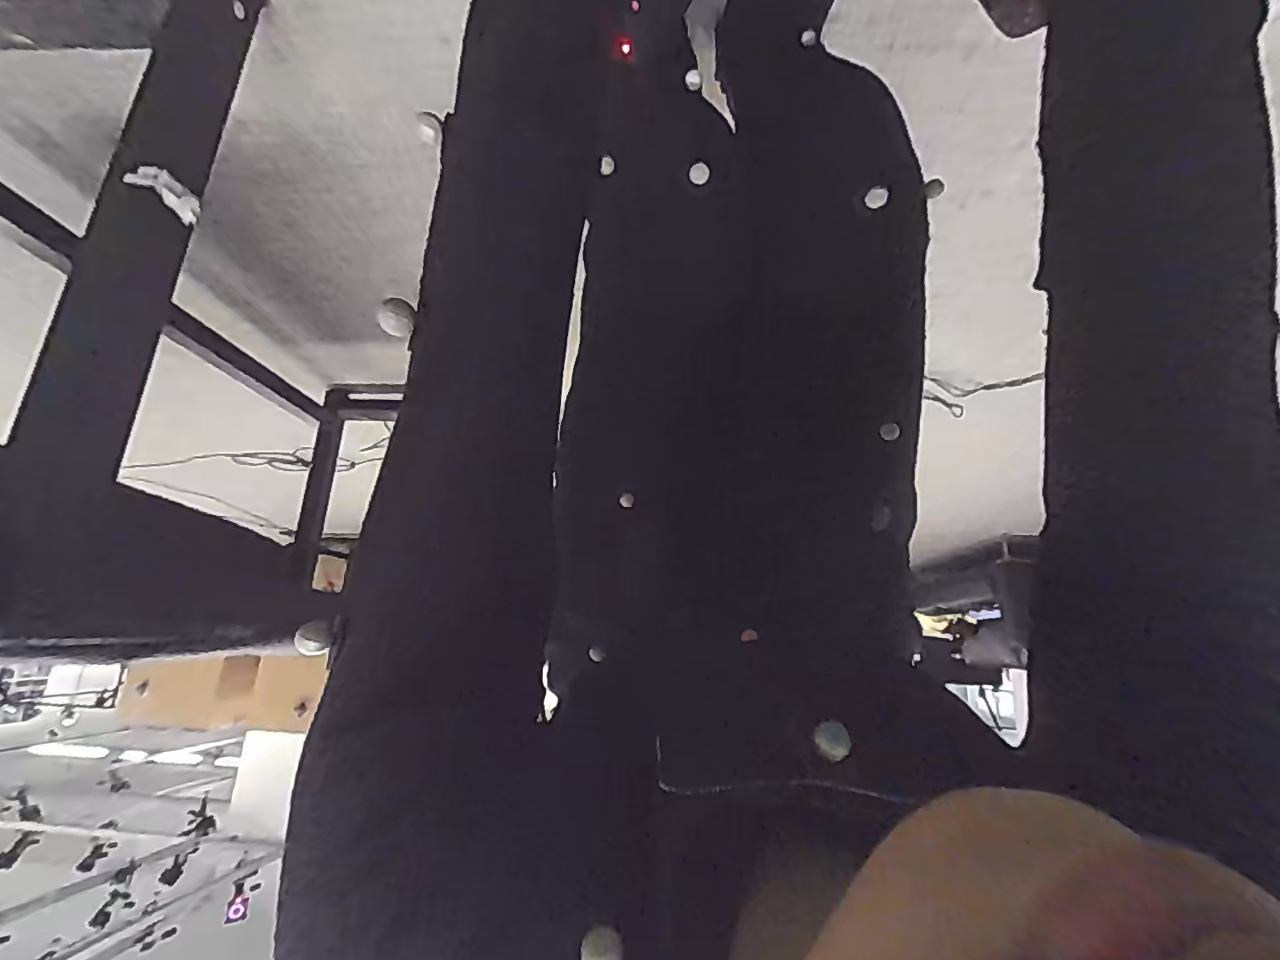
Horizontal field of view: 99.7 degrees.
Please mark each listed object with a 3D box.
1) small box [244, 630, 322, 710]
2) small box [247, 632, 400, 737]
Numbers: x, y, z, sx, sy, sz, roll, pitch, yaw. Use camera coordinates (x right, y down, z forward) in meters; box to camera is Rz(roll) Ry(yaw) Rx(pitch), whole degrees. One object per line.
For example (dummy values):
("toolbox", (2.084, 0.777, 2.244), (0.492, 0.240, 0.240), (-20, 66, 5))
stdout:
("small box", (-0.775, 0.444, 1.271), (0.179, 0.176, 0.168), (2, 163, 3))
("small box", (-0.583, 0.377, 1.021), (0.179, 0.176, 0.168), (3, 163, 2))
